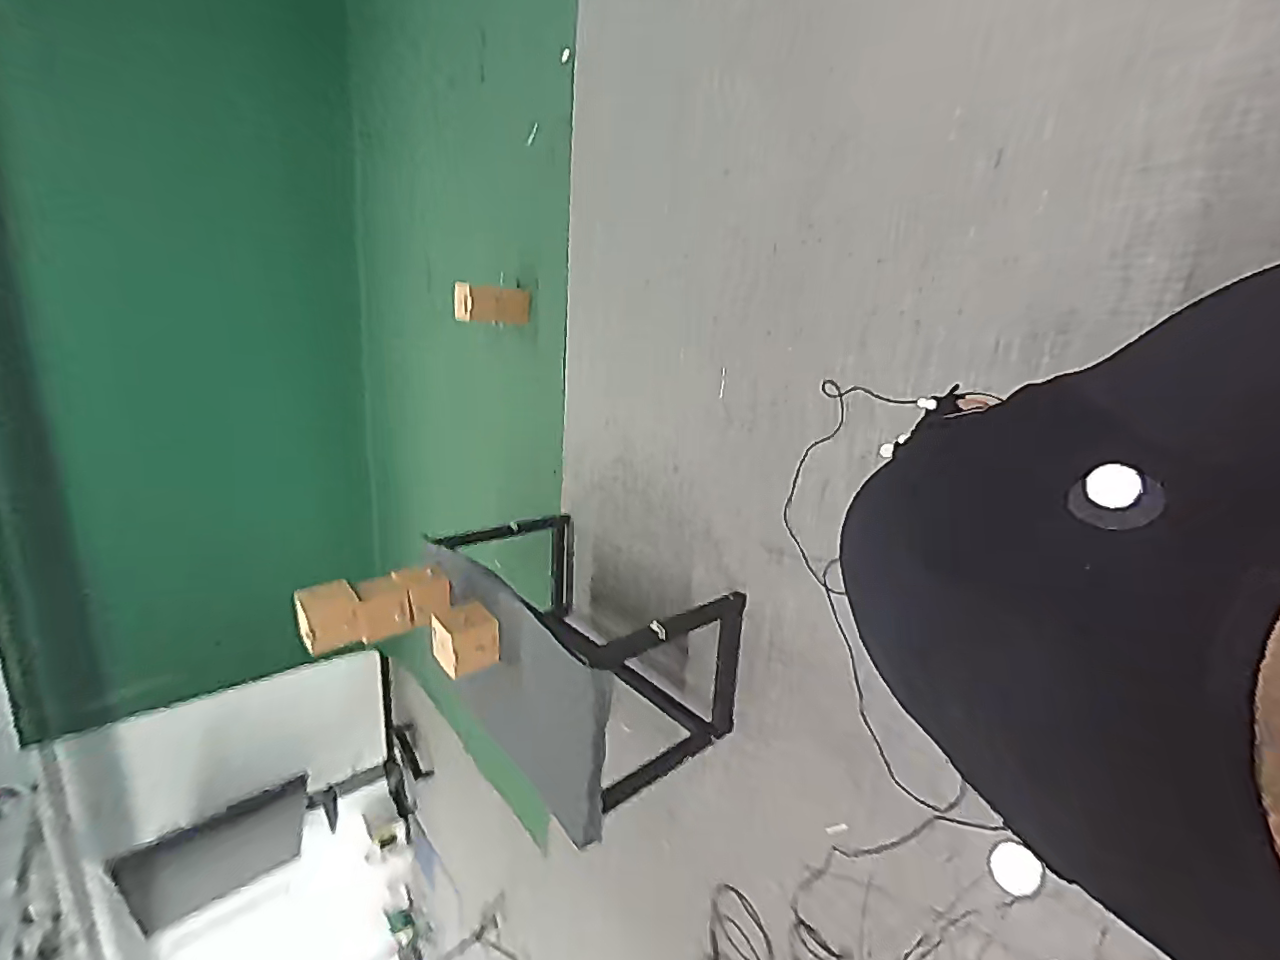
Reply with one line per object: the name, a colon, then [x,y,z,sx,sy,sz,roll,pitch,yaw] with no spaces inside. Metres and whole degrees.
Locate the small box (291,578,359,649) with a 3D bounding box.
small box: [-1.122,0.467,1.930,0.179,0.176,0.168,22,116,44]

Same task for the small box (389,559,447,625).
small box: [-0.879,0.439,2.148,0.168,0.176,0.179,25,116,42]

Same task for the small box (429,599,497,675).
small box: [-0.607,0.532,1.864,0.179,0.176,0.168,21,113,44]

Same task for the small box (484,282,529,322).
small box: [-0.696,-0.931,2.825,0.168,0.176,0.179,23,114,43]

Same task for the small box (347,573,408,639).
small box: [-0.992,0.466,2.034,0.179,0.176,0.168,15,111,44]
